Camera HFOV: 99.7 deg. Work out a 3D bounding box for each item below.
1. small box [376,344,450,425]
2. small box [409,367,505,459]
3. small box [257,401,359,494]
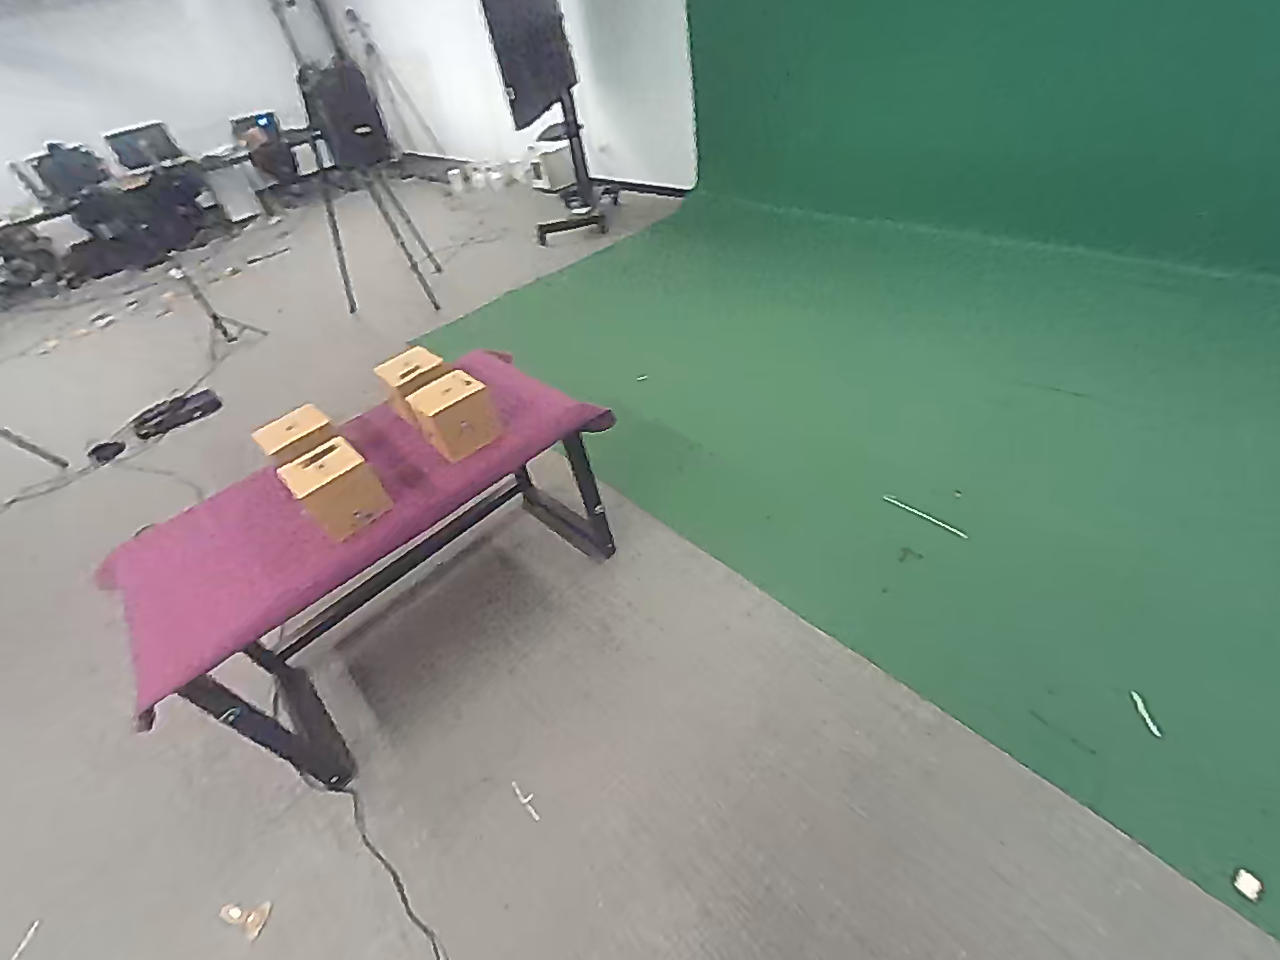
[{"bbox_3d":[-0.685,-0.296,1.699,0.168,0.176,0.179,-38,48,-24],"label":"small box"},{"bbox_3d":[-0.517,-0.189,1.545,0.179,0.176,0.168,-37,47,-23],"label":"small box"},{"bbox_3d":[-0.941,-0.093,1.549,0.168,0.176,0.179,30,58,37],"label":"small box"}]
